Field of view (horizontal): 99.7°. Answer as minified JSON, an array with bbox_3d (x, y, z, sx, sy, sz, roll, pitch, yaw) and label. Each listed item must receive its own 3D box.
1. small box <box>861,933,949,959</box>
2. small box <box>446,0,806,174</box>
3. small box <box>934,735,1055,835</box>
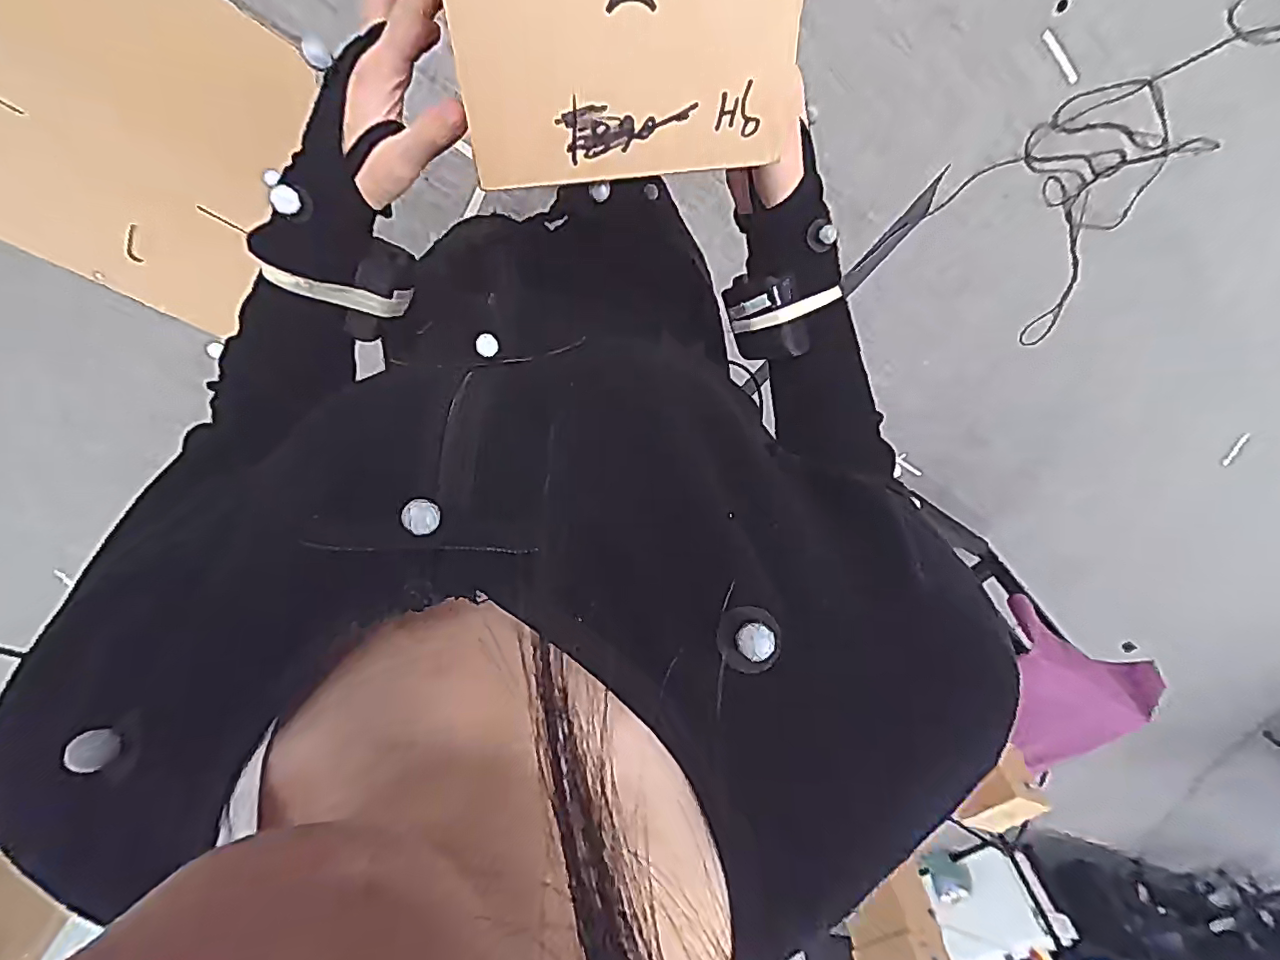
[{"bbox_3d":[0.678,1.260,1.338,0.168,0.176,0.179,30,119,-25],"label":"small box"},{"bbox_3d":[-0.022,-0.281,0.285,0.168,0.176,0.179,-11,131,-9],"label":"small box"},{"bbox_3d":[0.927,0.802,1.430,0.179,0.176,0.168,27,120,-24],"label":"small box"}]
